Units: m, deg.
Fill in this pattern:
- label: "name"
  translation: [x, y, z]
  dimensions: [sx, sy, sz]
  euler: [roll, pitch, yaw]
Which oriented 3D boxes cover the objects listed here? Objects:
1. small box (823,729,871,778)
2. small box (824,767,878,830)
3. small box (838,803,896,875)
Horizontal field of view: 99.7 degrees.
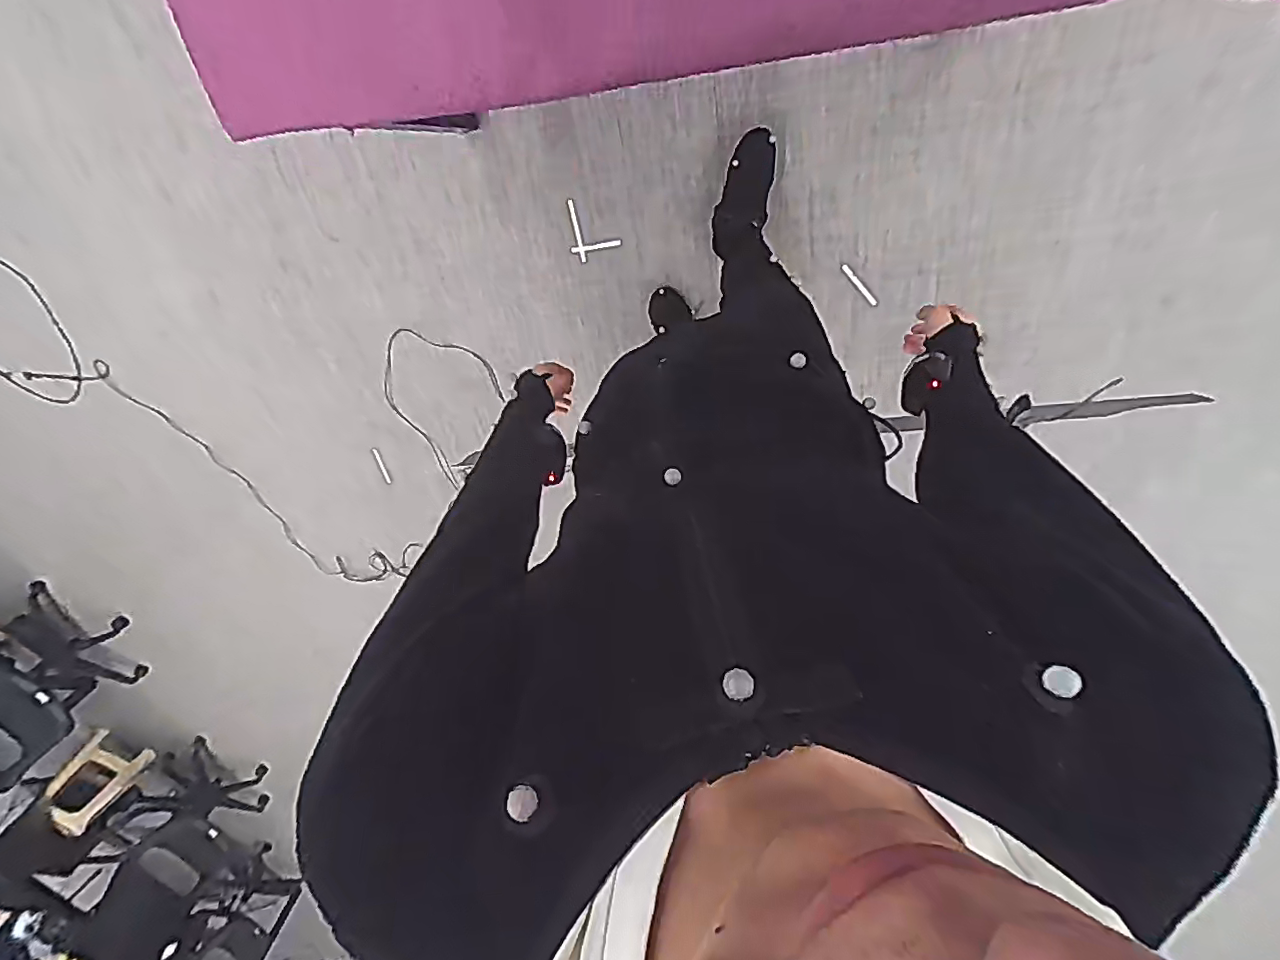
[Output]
- label: "small box"
  translation: [0.885, 1.195, 2.318]
  dimensions: [0.168, 0.176, 0.179]
  euler: [-8, 120, 12]
- label: "small box"
  translation: [0.854, 1.284, 2.183]
  dimensions: [0.179, 0.176, 0.168]
  euler: [-9, 120, 13]
- label: "small box"
  translation: [0.846, 1.348, 2.029]
  dimensions: [0.168, 0.176, 0.179]
  euler: [-7, 119, 10]
